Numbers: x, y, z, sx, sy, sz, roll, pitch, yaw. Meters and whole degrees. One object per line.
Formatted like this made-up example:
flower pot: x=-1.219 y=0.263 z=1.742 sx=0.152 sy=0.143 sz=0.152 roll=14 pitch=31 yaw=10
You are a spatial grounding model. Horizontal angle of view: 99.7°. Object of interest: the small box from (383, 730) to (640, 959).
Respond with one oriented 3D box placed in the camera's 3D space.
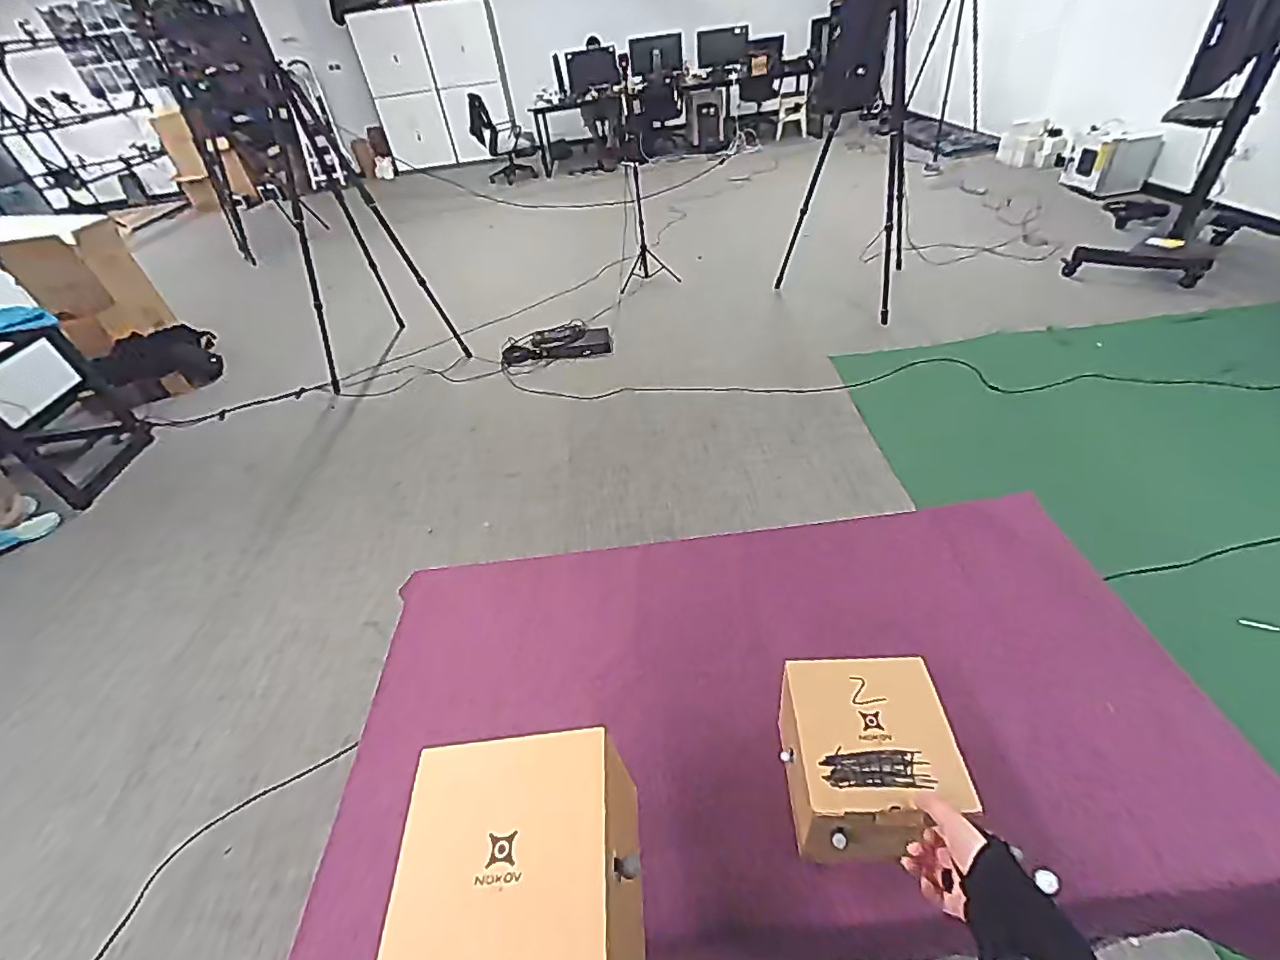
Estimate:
small box: x=-0.095 y=0.349 z=0.480 sx=0.168 sy=0.176 sz=0.179 roll=-9 pitch=46 yaw=4
